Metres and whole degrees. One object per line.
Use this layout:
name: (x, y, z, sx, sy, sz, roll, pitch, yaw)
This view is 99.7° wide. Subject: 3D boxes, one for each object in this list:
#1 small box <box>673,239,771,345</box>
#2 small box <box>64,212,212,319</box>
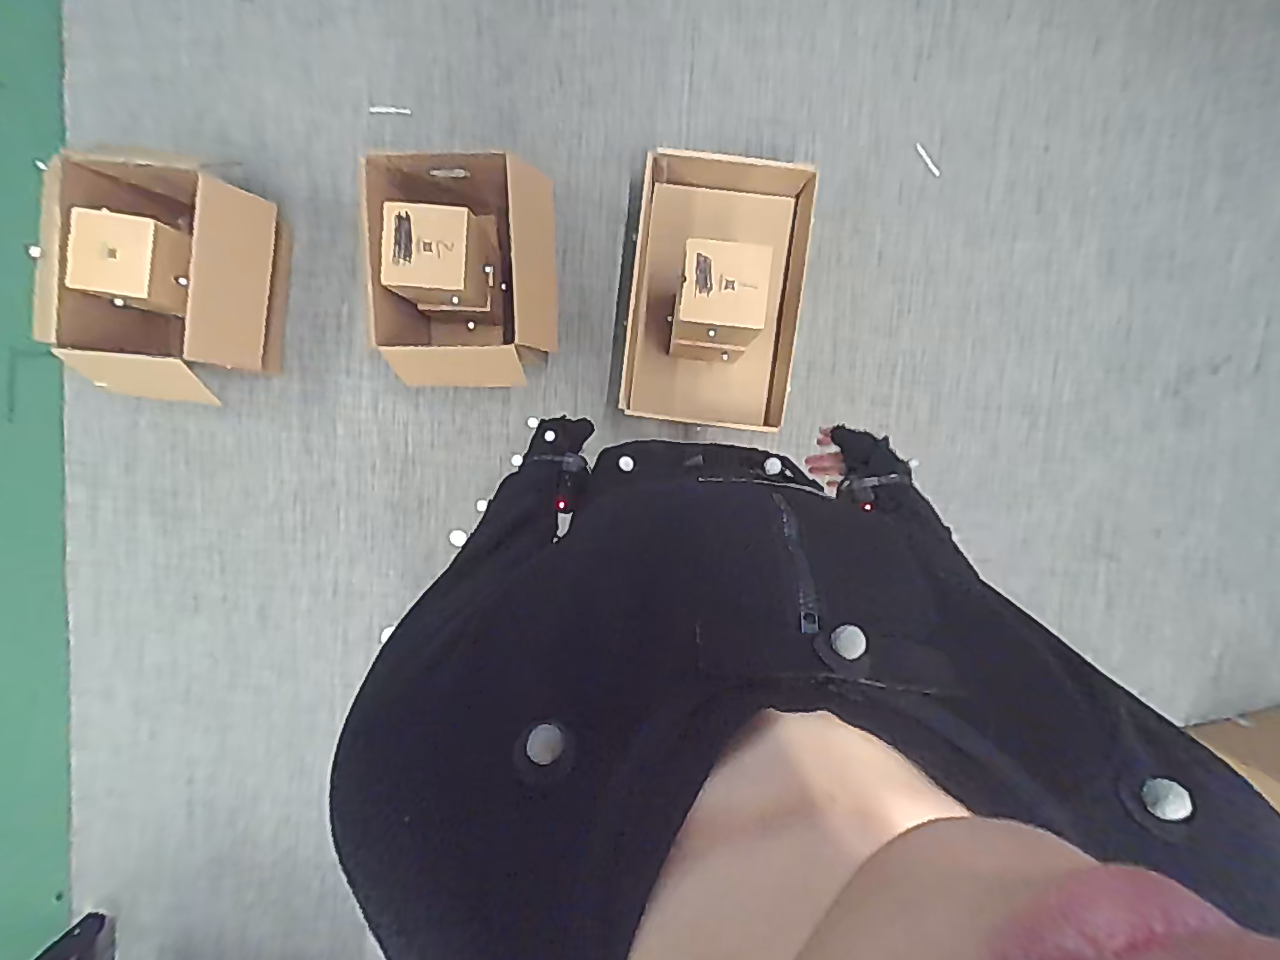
small box: (0.166, -0.393, 1.156, 0.179, 0.176, 0.168, 6, 92, -1)
small box: (-1.100, -0.465, 1.199, 0.179, 0.176, 0.168, 8, 93, 0)
